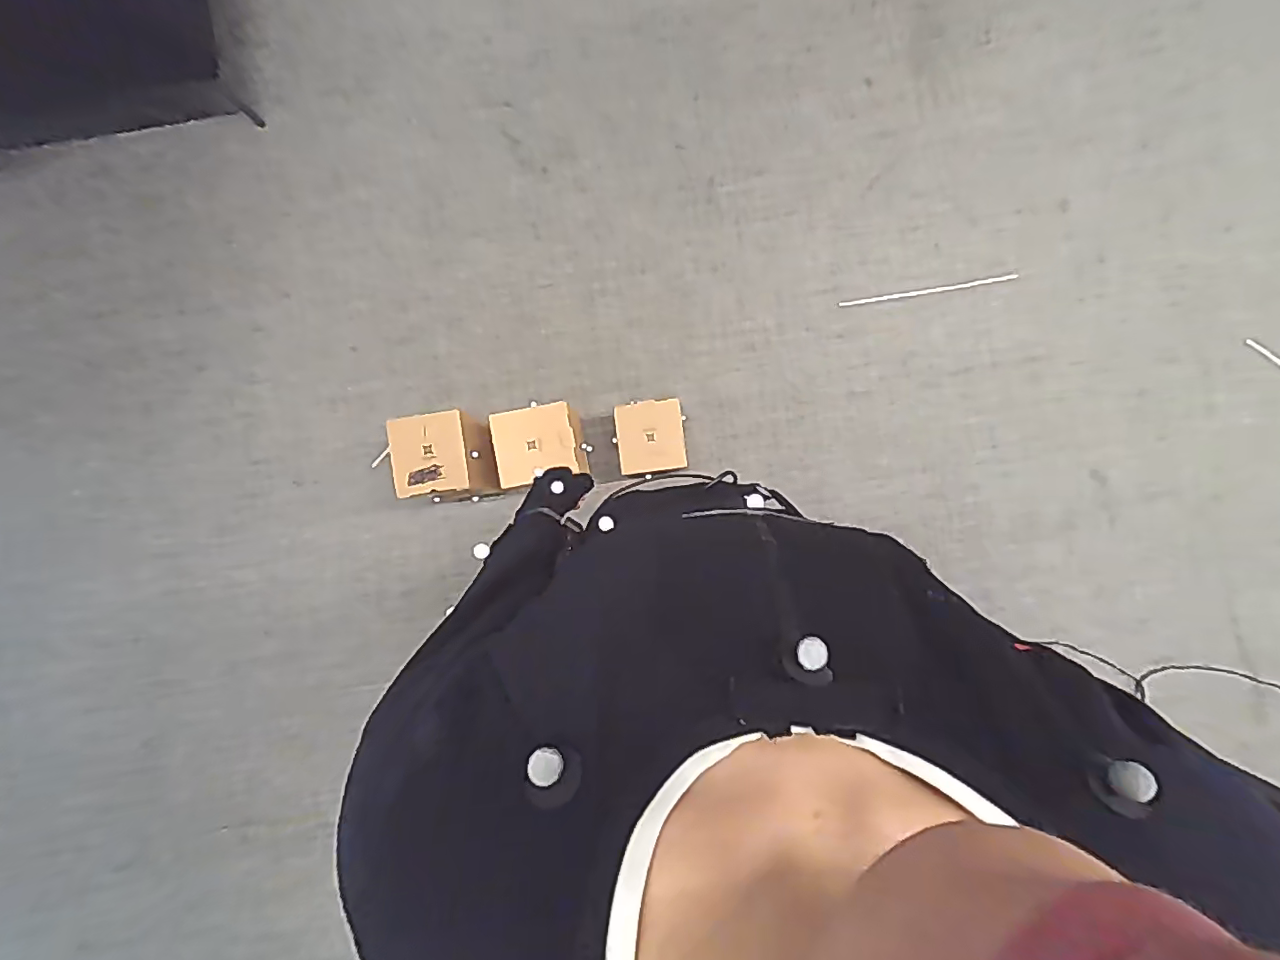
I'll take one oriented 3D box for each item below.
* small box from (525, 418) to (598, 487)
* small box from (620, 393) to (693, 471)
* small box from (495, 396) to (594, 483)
[{"bbox_3d":[-0.212,-0.080,1.408,0.168,0.176,0.179,-10,89,3],"label":"small box"},{"bbox_3d":[0.042,-0.119,1.401,0.168,0.176,0.179,-7,90,2],"label":"small box"},{"bbox_3d":[-0.213,-0.086,1.245,0.179,0.176,0.168,-11,90,2],"label":"small box"}]
